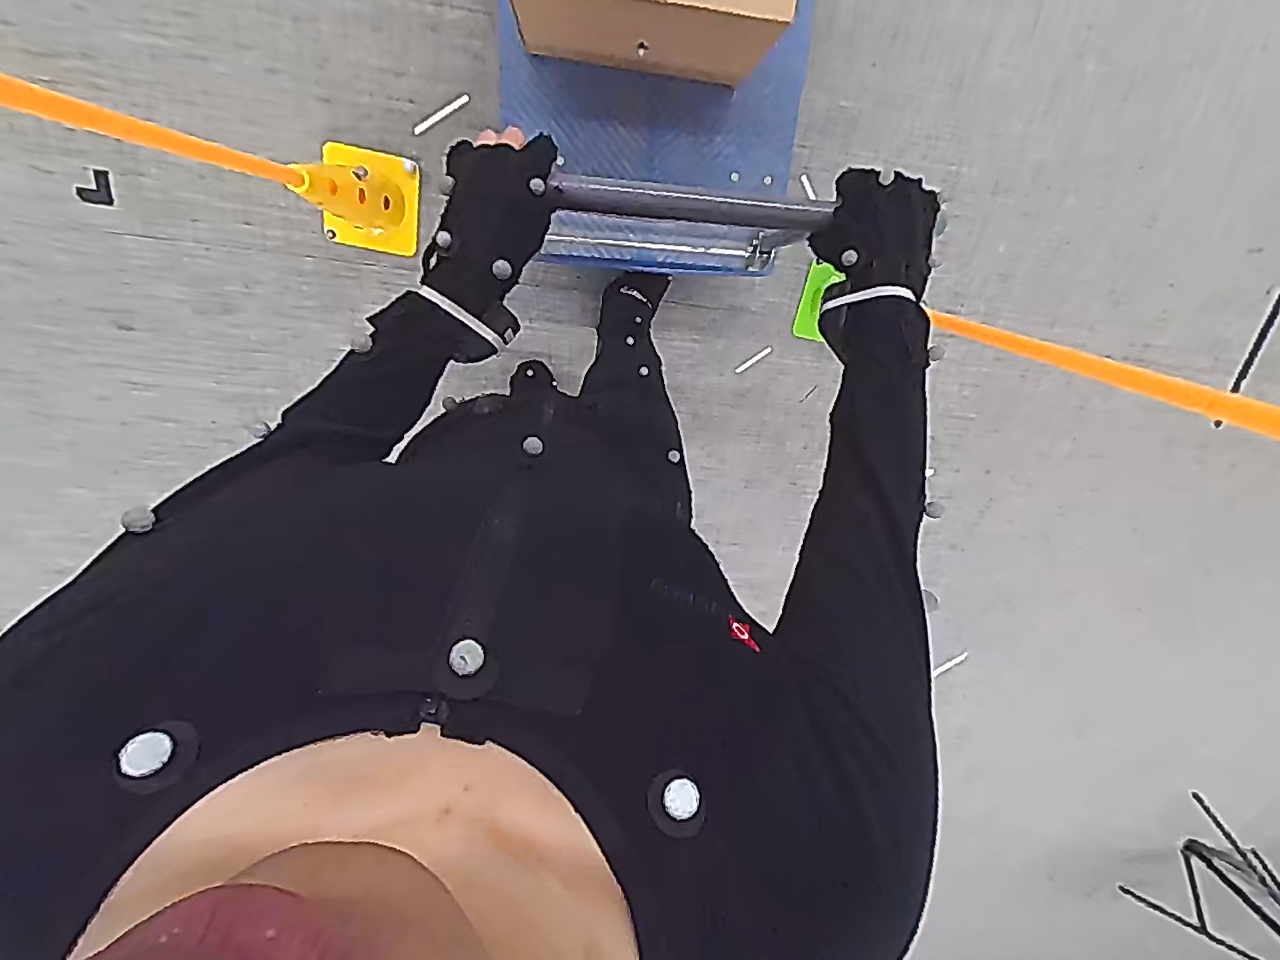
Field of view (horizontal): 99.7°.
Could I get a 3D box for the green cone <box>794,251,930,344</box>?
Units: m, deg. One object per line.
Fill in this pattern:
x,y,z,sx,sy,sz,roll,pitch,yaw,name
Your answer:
0.528,-0.399,1.227,0.202,0.368,0.200,9,111,-10,green cone

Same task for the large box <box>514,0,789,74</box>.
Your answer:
0.018,-0.870,0.833,0.408,0.320,0.320,4,112,-6,large box
